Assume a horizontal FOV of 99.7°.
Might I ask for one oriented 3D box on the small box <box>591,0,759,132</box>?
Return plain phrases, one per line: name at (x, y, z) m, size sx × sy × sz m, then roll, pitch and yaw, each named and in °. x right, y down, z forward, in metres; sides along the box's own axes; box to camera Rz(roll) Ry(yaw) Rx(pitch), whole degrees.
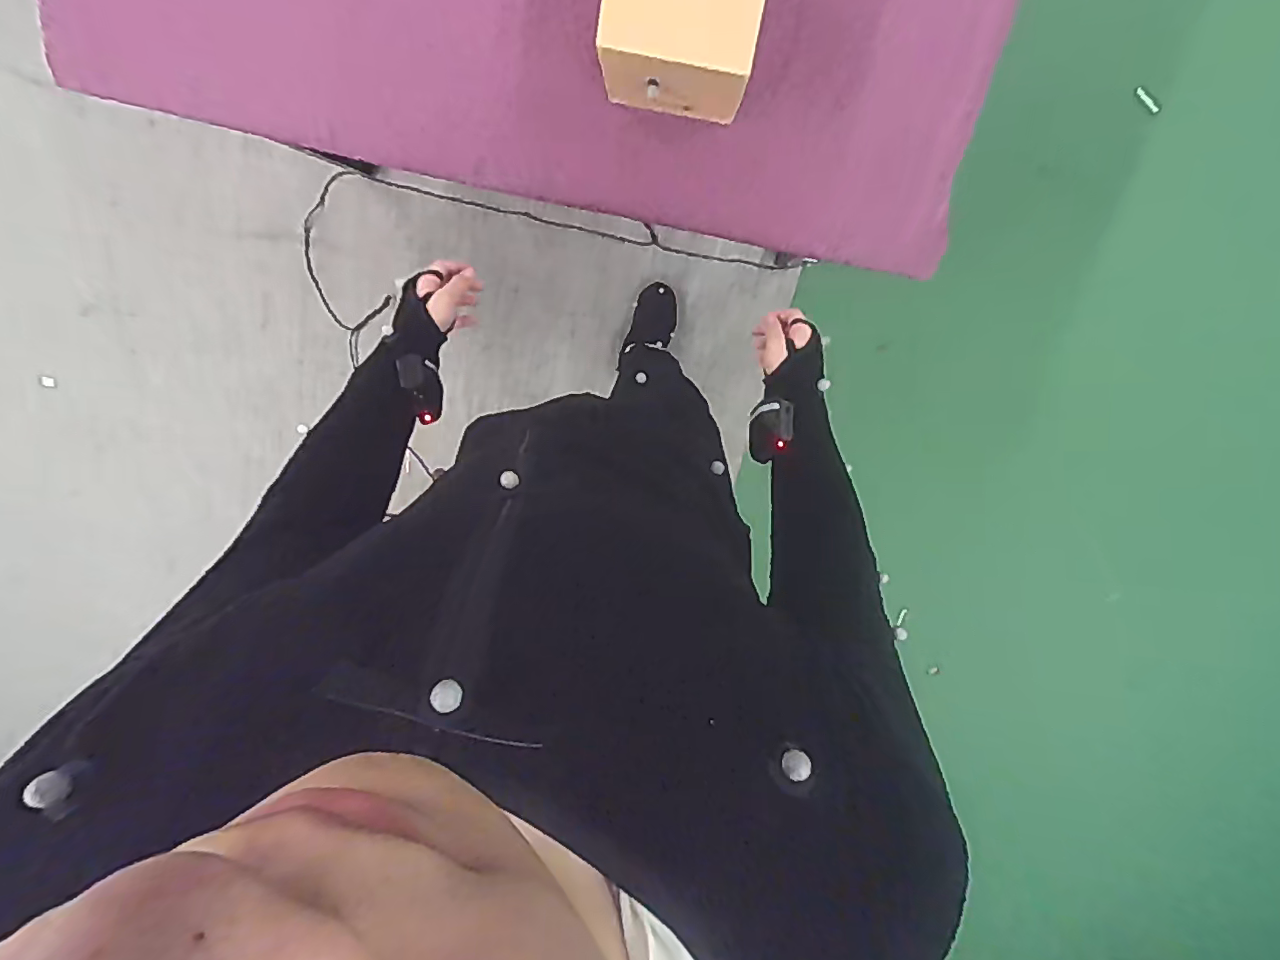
small box at (0.047, -0.531, 0.620) m, size 0.168 × 0.176 × 0.179 m, roll 10°, pitch 107°, yaw 0°
